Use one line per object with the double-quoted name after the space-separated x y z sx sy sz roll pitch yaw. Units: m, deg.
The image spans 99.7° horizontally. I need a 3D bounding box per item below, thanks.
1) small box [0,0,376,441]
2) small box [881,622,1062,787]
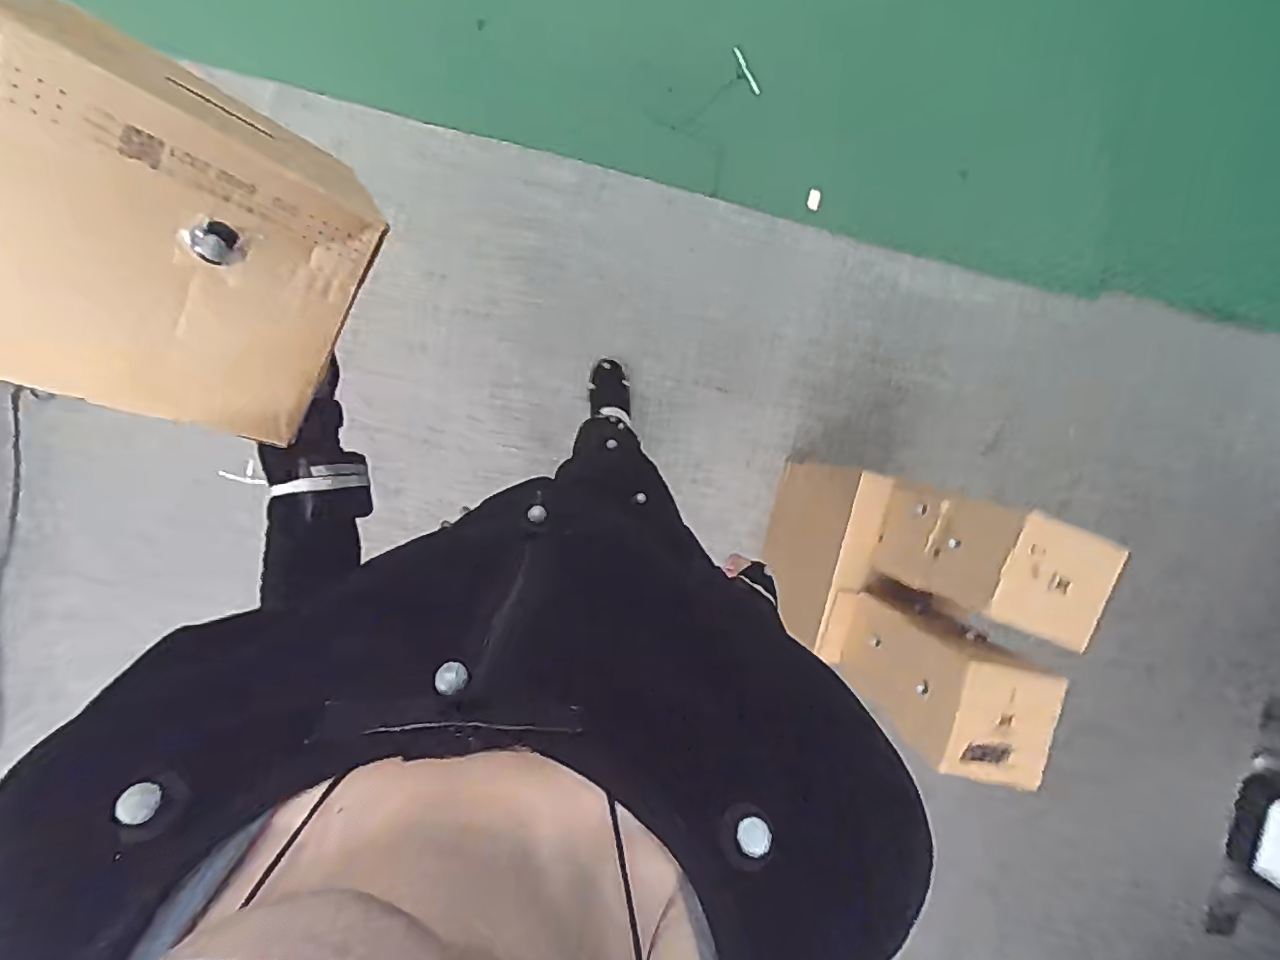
-0.289 -0.157 0.341 0.168 0.179 0.176 18 112 -43 "small box"
0.525 0.356 0.883 0.168 0.176 0.179 14 93 -6 "small box"
